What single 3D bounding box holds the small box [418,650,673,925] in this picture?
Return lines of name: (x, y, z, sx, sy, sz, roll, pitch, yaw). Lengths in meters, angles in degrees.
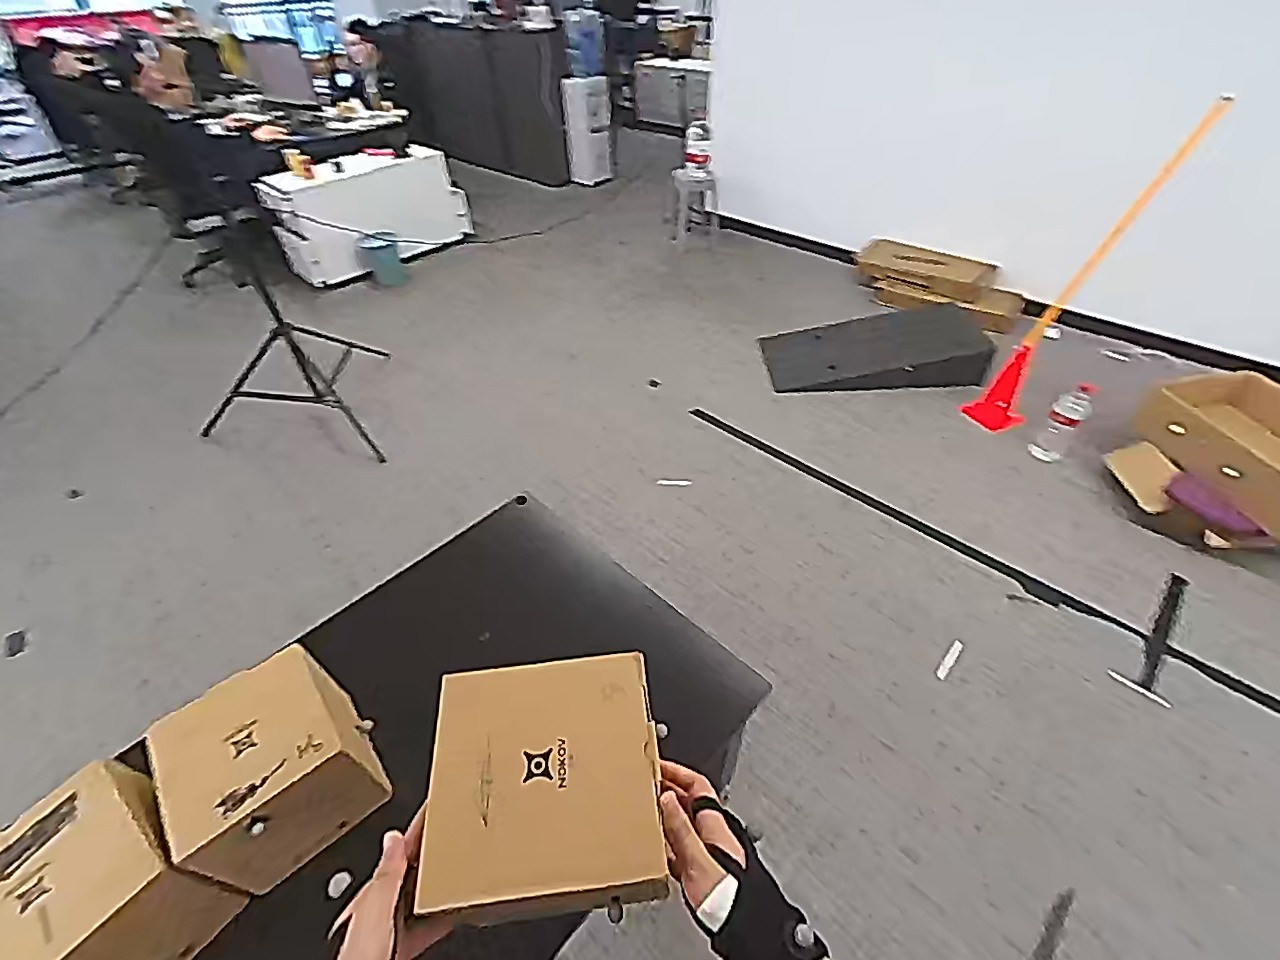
small box: (-0.068, 0.273, 0.478, 0.179, 0.176, 0.168, -7, 46, -2)
